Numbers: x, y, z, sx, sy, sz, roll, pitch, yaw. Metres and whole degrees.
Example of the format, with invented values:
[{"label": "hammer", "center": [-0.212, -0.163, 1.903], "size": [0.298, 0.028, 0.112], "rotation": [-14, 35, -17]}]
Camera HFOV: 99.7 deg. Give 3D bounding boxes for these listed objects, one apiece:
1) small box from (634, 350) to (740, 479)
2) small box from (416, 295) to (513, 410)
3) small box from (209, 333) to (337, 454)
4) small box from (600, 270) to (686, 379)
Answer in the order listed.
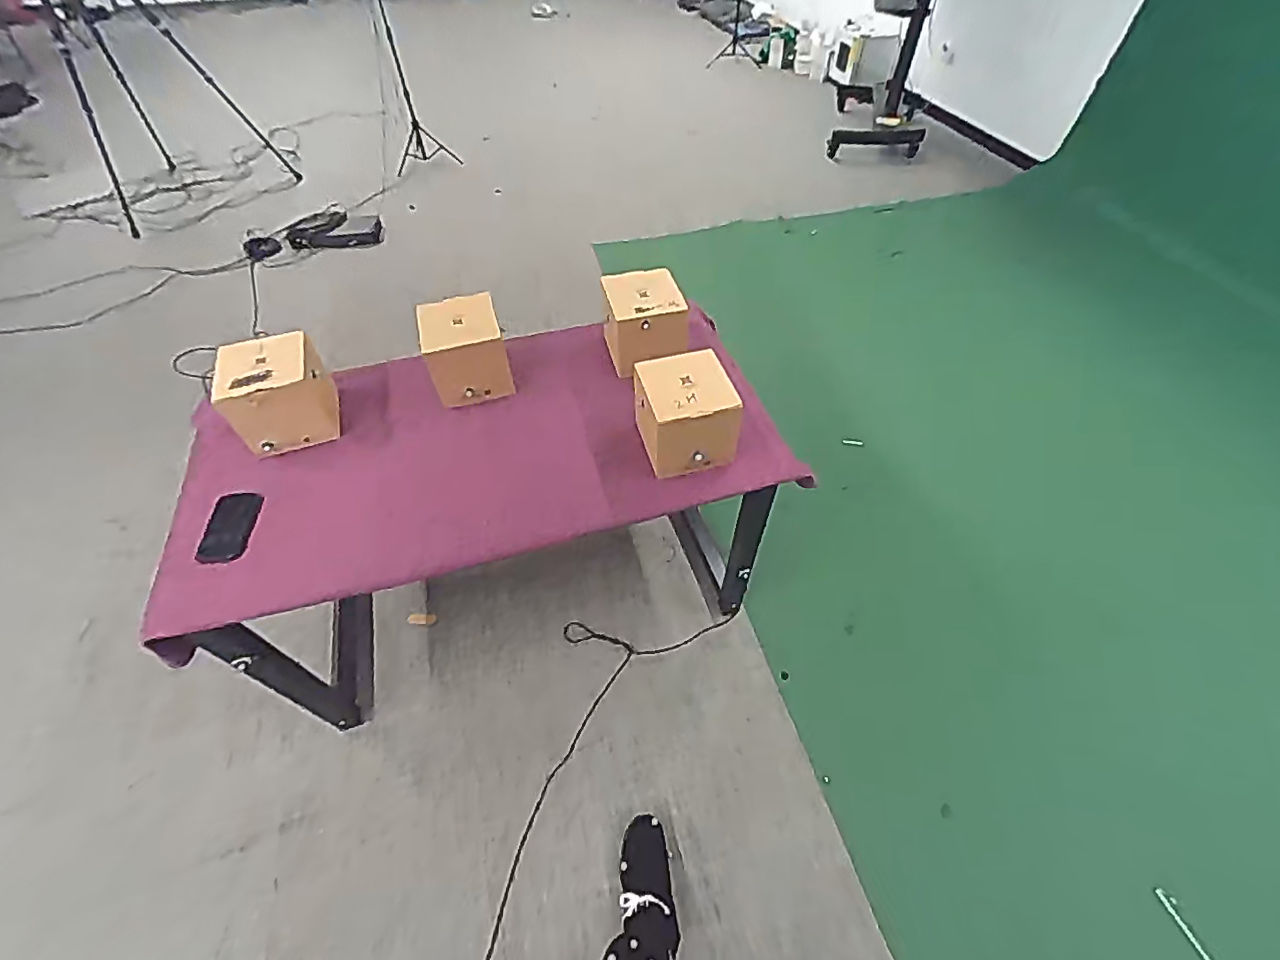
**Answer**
[{"label": "small box", "center": [0.087, -0.131, 1.086], "size": [0.168, 0.176, 0.179], "rotation": [-13, 52, -7]}, {"label": "small box", "center": [-0.395, -0.287, 1.223], "size": [0.168, 0.176, 0.179], "rotation": [-15, 53, -10]}, {"label": "small box", "center": [-0.757, -0.175, 1.135], "size": [0.168, 0.176, 0.179], "rotation": [-17, 52, -13]}, {"label": "small box", "center": [0.004, -0.368, 1.281], "size": [0.168, 0.176, 0.179], "rotation": [-12, 52, -8]}]
